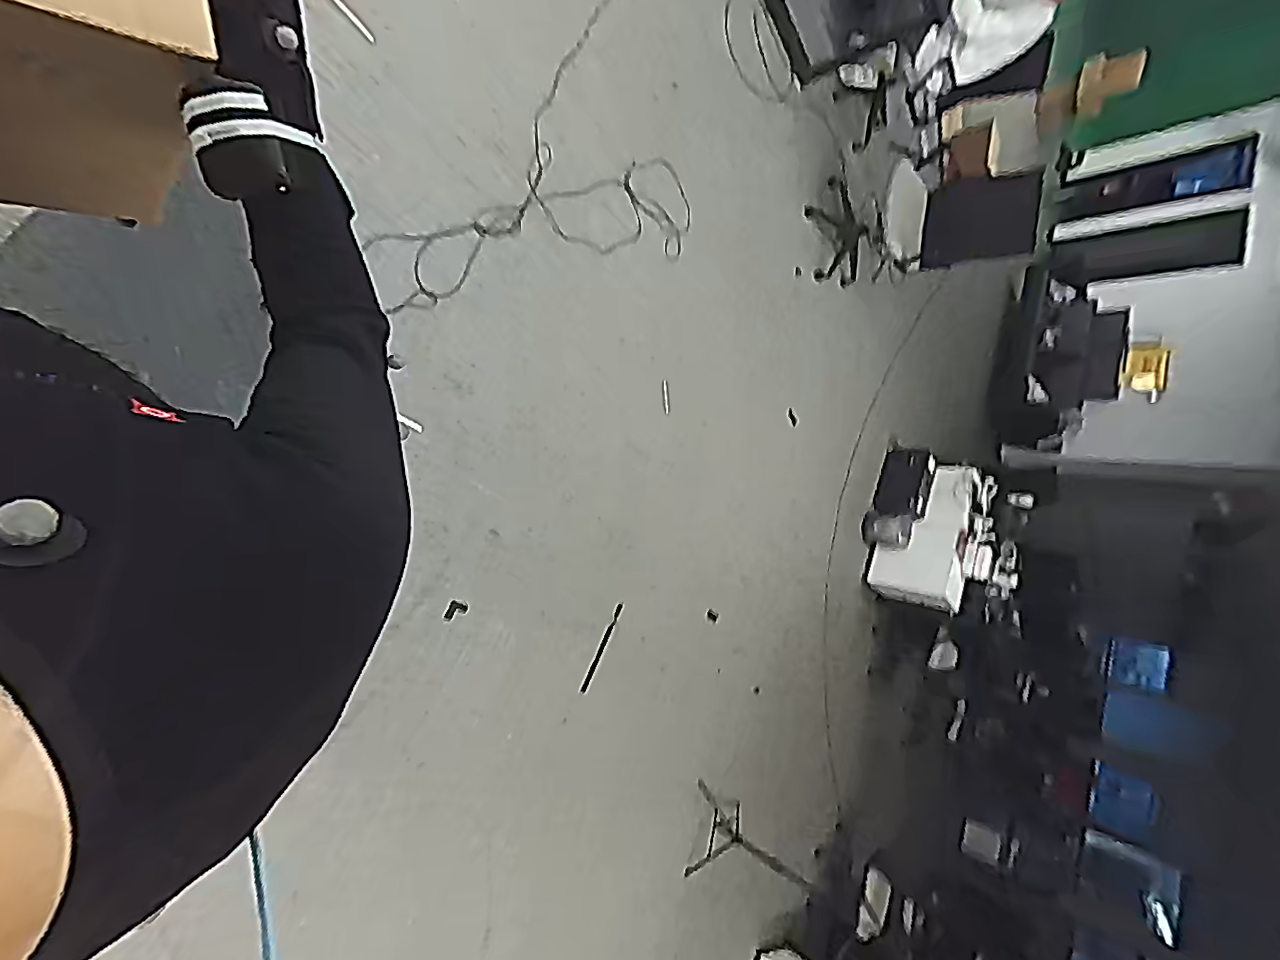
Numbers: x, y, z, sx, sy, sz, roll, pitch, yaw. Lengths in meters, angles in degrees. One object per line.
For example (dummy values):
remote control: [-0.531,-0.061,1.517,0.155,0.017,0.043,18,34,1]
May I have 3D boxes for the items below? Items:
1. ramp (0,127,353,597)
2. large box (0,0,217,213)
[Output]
ramp: [-1.064,-0.302,1.158,0.509,0.206,0.991,33,71,-41]
large box: [-0.544,-0.390,0.302,0.408,0.320,0.320,-14,100,-47]
